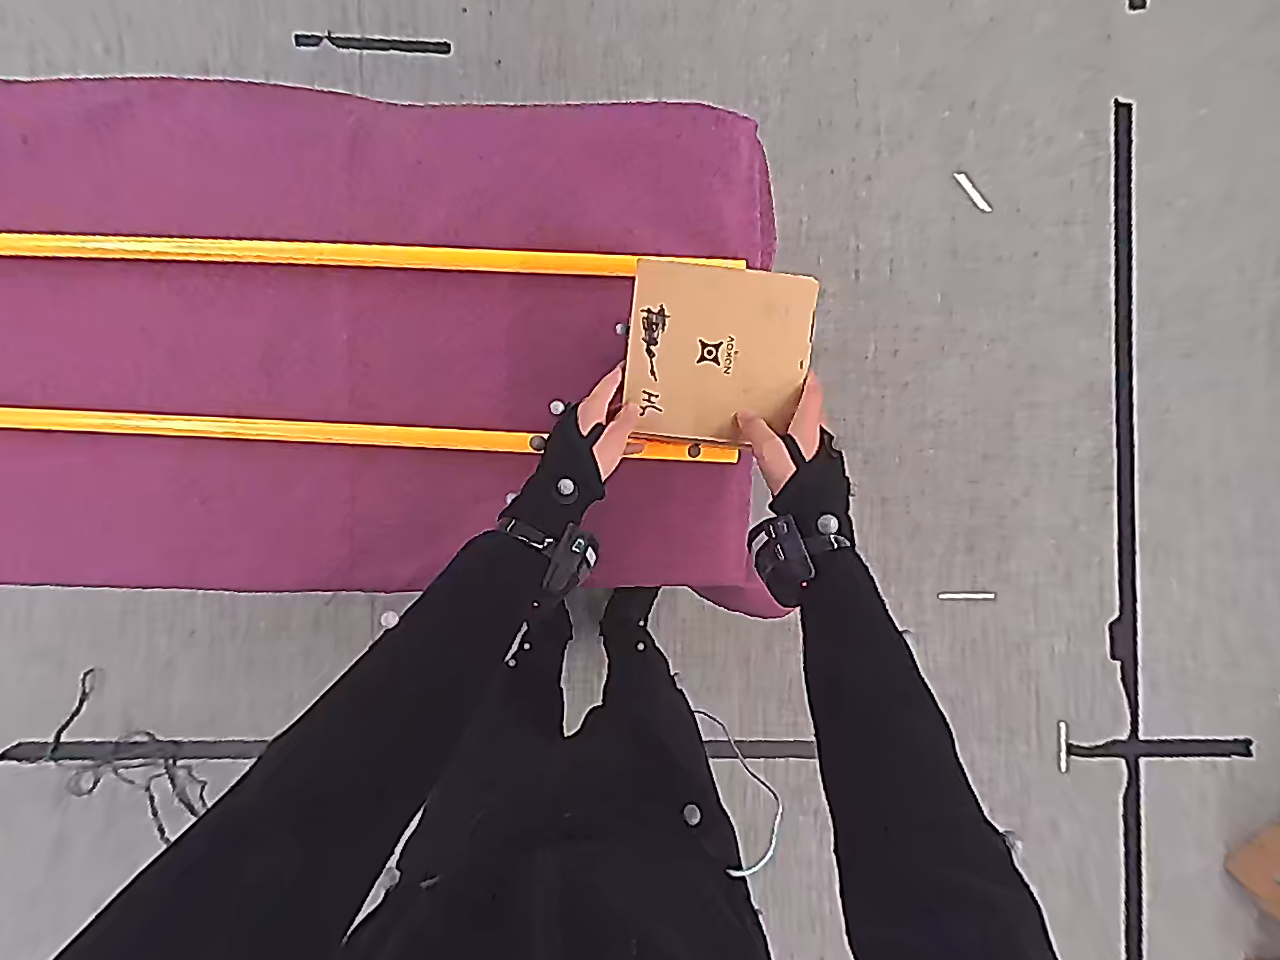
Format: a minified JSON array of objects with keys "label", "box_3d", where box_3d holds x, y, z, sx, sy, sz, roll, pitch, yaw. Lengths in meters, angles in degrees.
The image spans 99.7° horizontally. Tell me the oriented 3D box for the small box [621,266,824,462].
[{"label":"small box","box_3d":[0.076,-0.114,0.590,0.179,0.176,0.168,7,93,-1]}]
